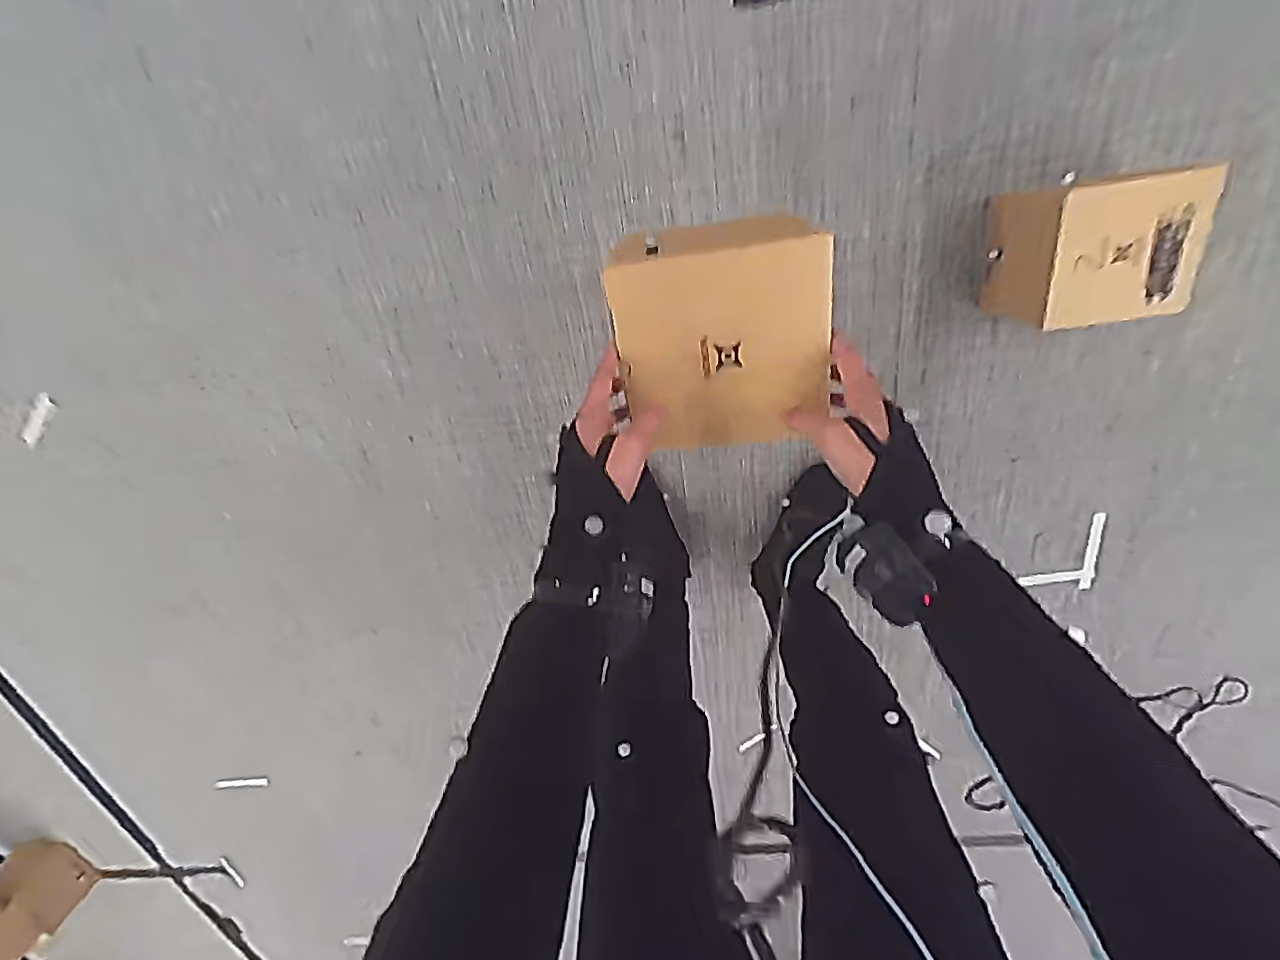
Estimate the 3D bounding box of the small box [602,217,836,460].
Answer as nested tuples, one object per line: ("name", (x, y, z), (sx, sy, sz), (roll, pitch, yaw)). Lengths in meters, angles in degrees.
("small box", (0.071, -0.137, 0.505), (0.179, 0.176, 0.168), (-5, 121, 8))
